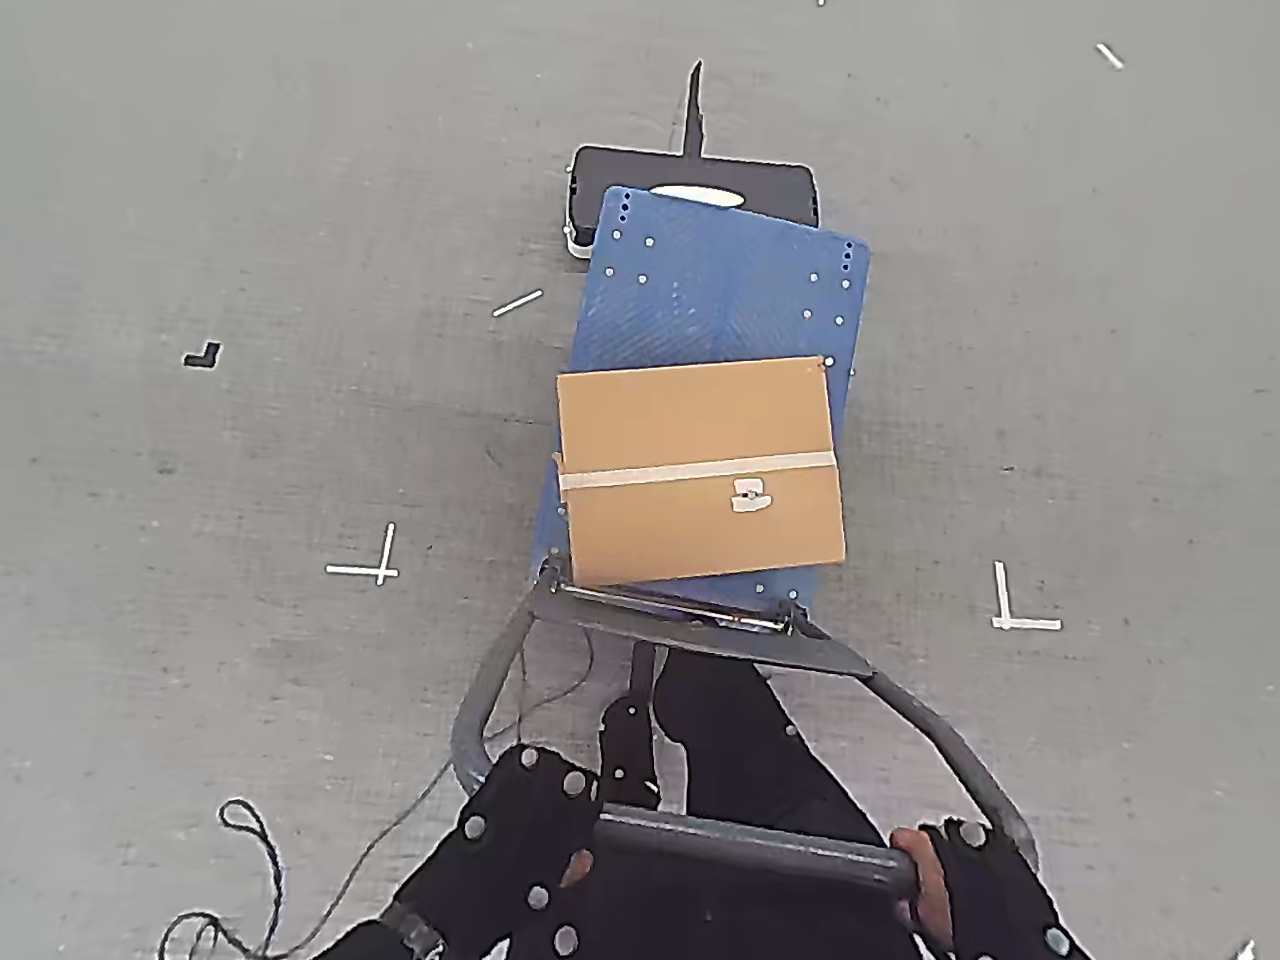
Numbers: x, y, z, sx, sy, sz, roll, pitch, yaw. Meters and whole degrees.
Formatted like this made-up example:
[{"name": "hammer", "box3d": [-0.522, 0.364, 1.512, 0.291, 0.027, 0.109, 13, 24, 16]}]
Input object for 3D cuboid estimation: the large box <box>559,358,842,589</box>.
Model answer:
[{"name": "large box", "box3d": [0.080, -0.006, 0.951, 0.408, 0.320, 0.320, -5, 88, -5]}]
